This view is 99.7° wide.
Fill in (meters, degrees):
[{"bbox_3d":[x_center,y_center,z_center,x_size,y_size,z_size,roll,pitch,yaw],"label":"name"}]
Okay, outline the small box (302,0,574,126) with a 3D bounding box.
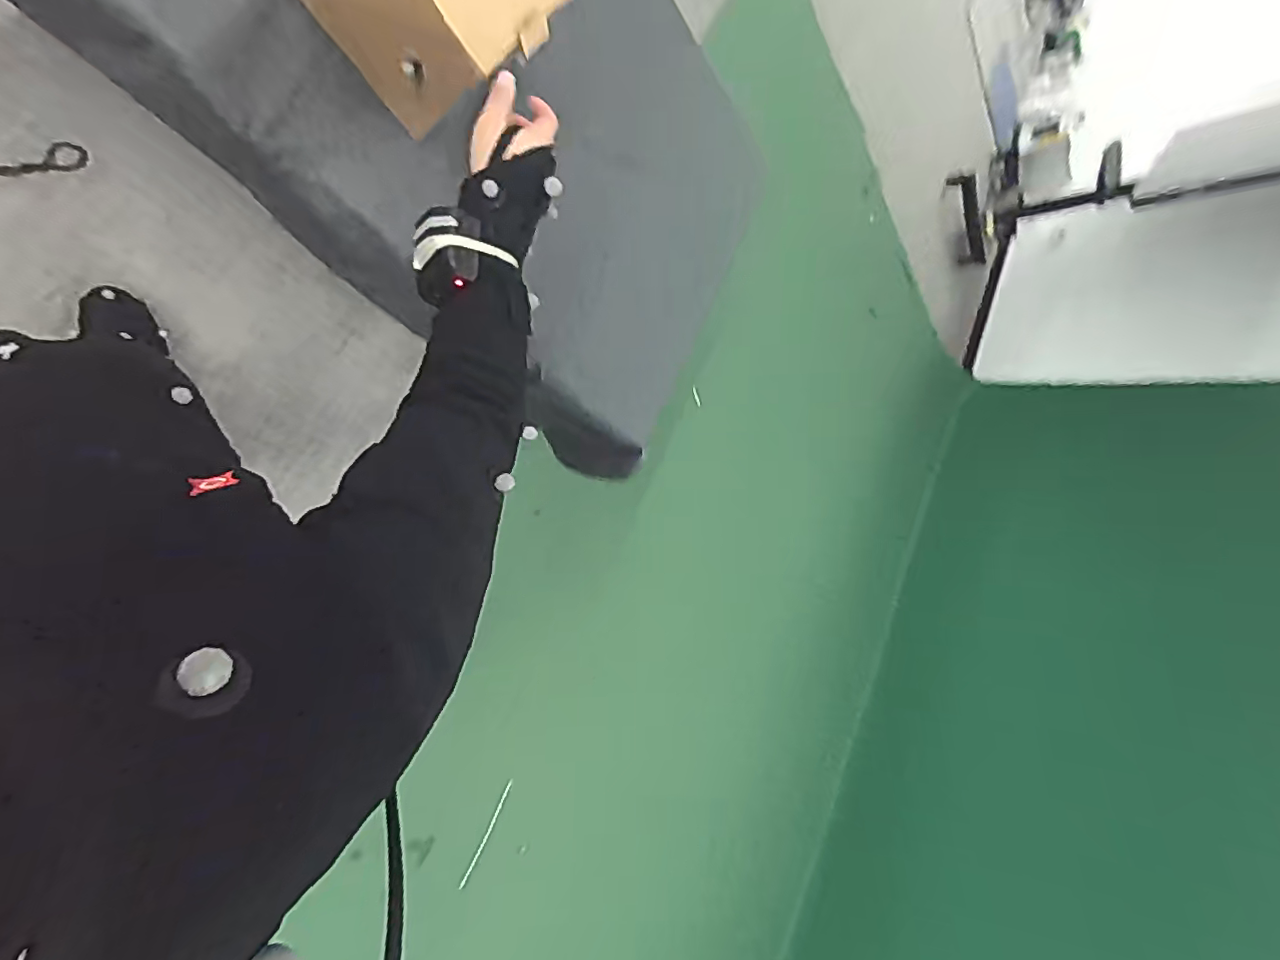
[{"bbox_3d":[-0.206,-0.490,0.535,0.179,0.176,0.168,47,64,-37],"label":"small box"}]
